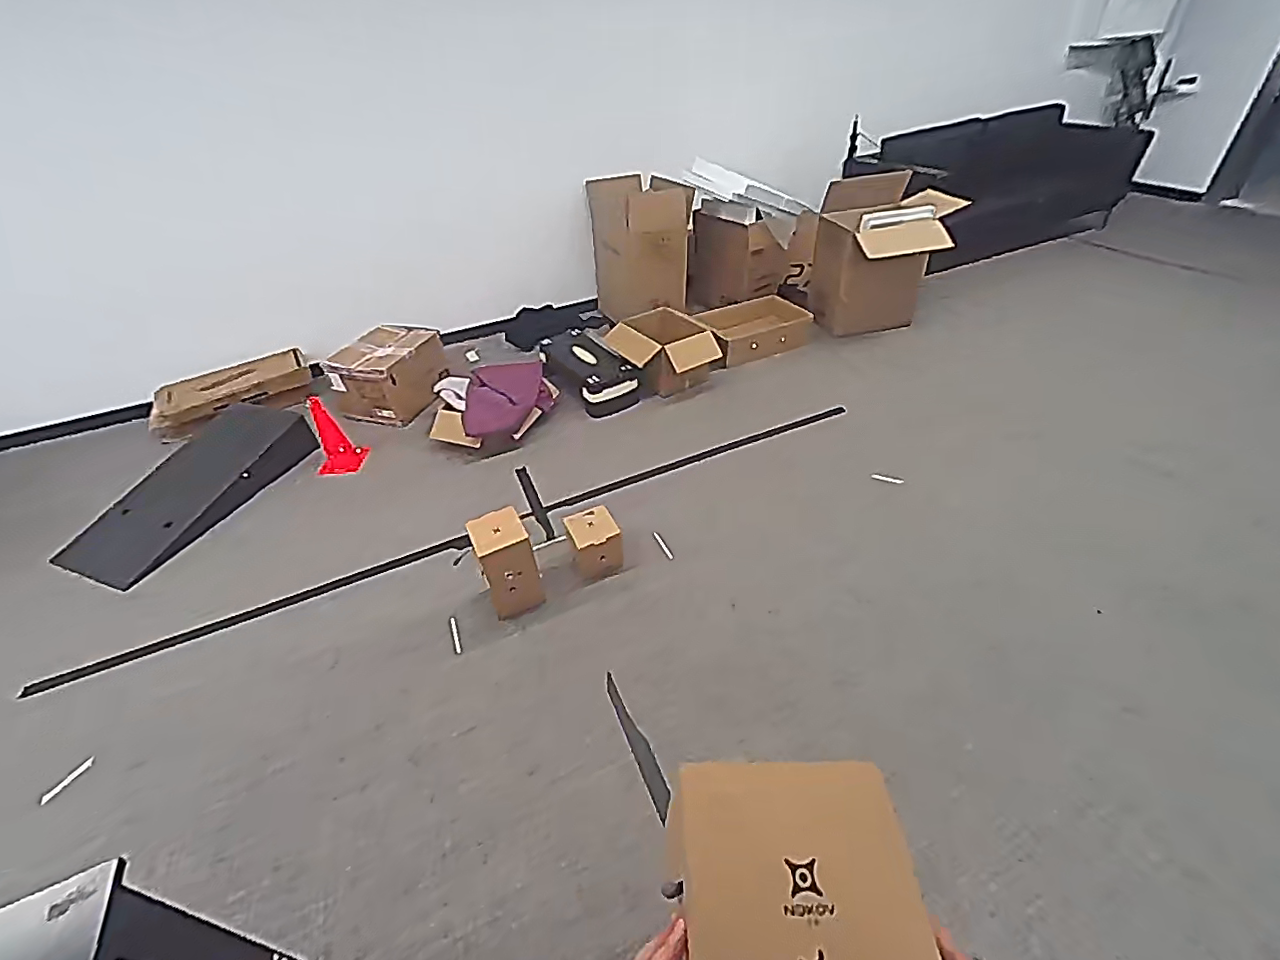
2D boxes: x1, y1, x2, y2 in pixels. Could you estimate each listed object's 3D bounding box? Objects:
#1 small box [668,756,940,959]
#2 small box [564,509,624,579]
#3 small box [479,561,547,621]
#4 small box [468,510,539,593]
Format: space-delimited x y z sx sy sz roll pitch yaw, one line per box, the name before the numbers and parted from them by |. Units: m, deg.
small box | 0.112 0.348 0.438 0.168 0.176 0.179 1 42 -2
small box | -0.167 0.244 2.002 0.168 0.176 0.179 -19 41 -16
small box | -0.441 0.361 1.886 0.179 0.176 0.168 -20 42 -18
small box | -0.448 0.236 1.782 0.168 0.176 0.179 -23 44 -18
